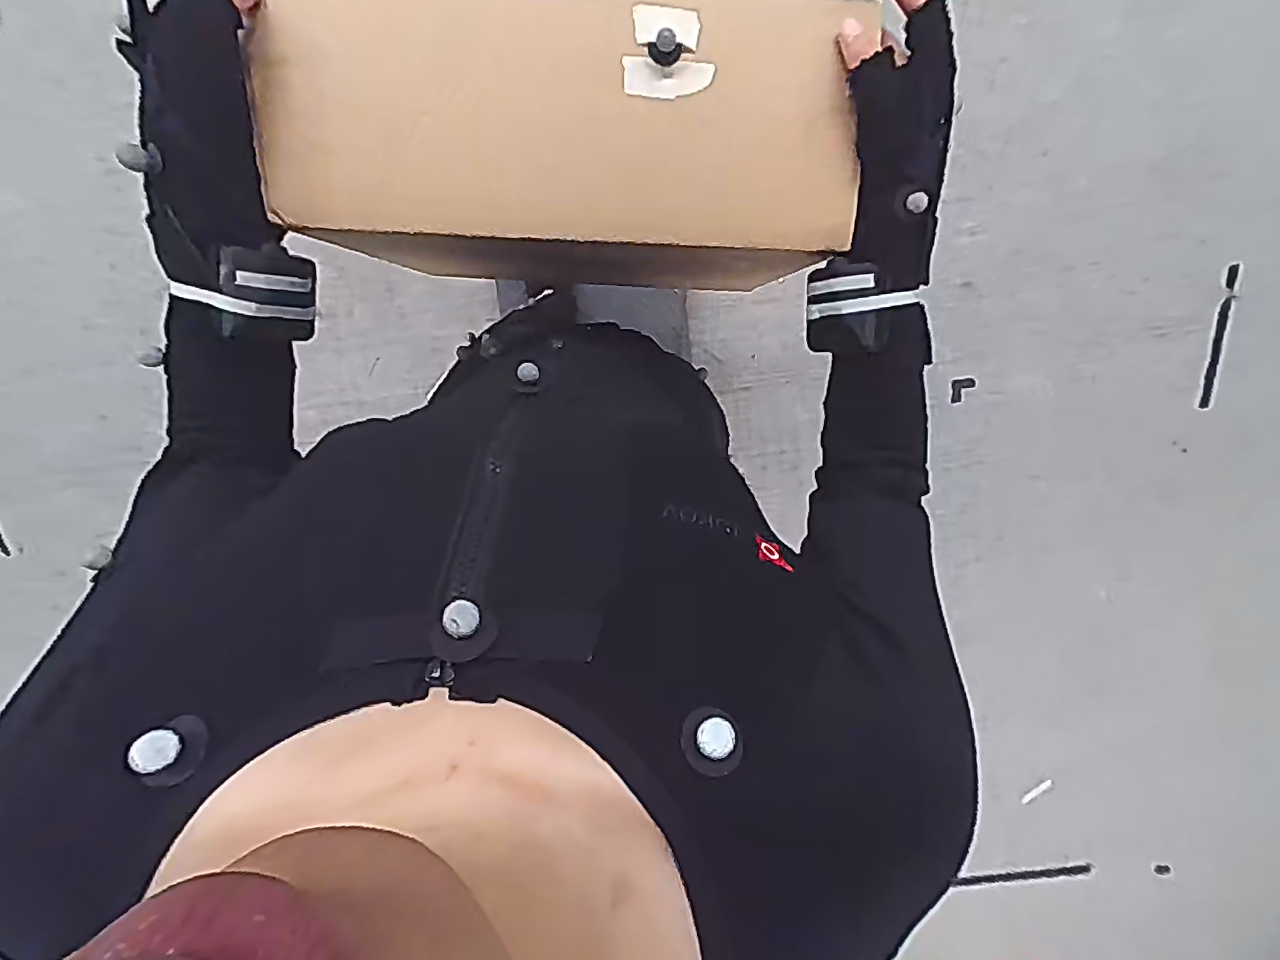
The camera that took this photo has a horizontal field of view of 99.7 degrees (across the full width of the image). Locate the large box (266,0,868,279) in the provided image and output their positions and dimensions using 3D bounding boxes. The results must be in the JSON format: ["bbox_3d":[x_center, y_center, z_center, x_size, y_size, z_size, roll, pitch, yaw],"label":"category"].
[{"bbox_3d":[-0.050,-0.368,0.497,0.408,0.320,0.320,1,105,-2],"label":"large box"}]
